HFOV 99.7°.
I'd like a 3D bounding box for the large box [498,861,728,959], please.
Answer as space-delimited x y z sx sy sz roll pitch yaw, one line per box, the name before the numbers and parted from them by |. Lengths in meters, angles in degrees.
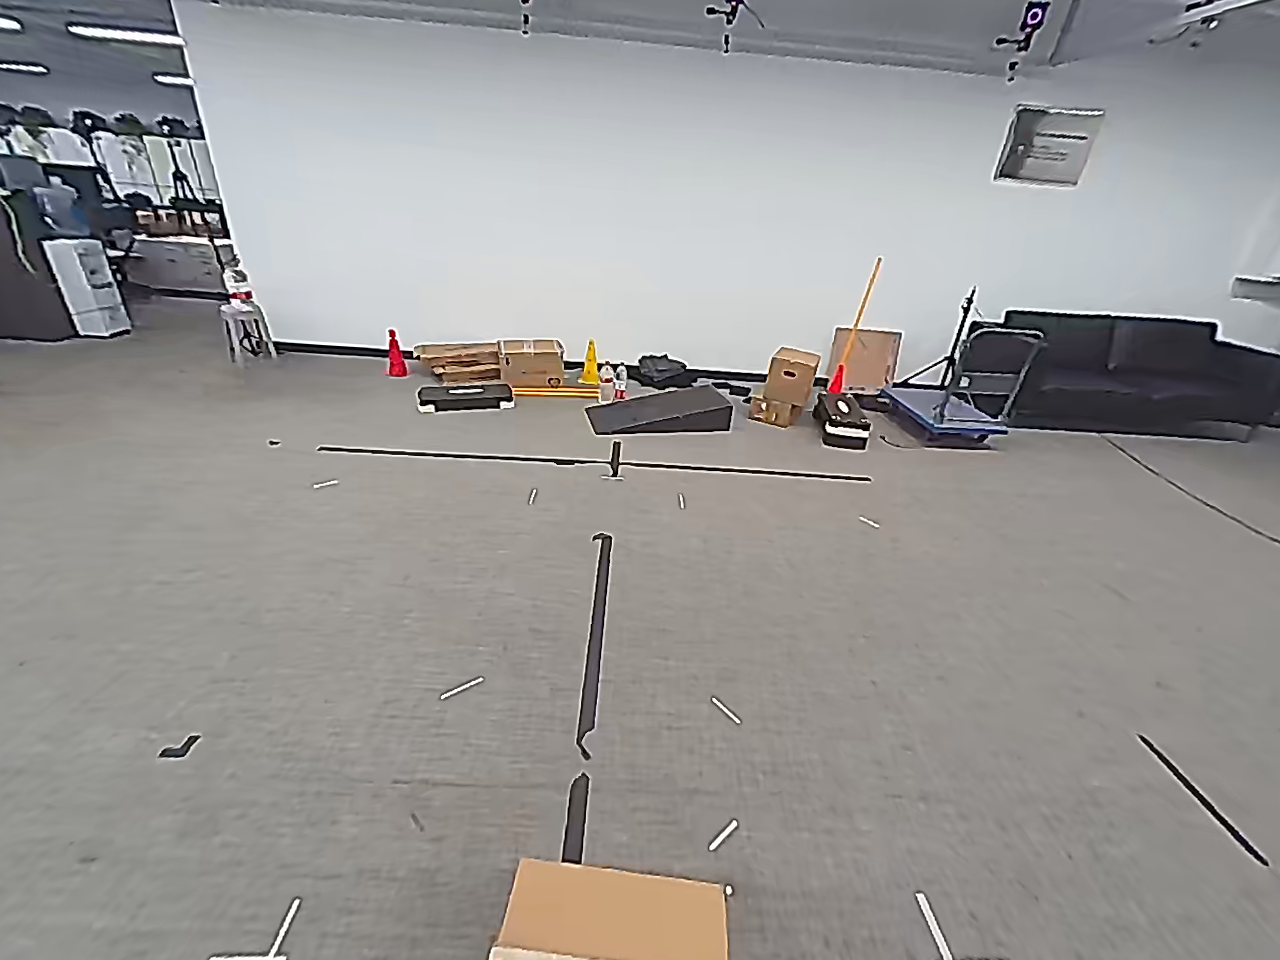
large box | -0.061 0.964 0.981 0.408 0.320 0.320 7 28 2
